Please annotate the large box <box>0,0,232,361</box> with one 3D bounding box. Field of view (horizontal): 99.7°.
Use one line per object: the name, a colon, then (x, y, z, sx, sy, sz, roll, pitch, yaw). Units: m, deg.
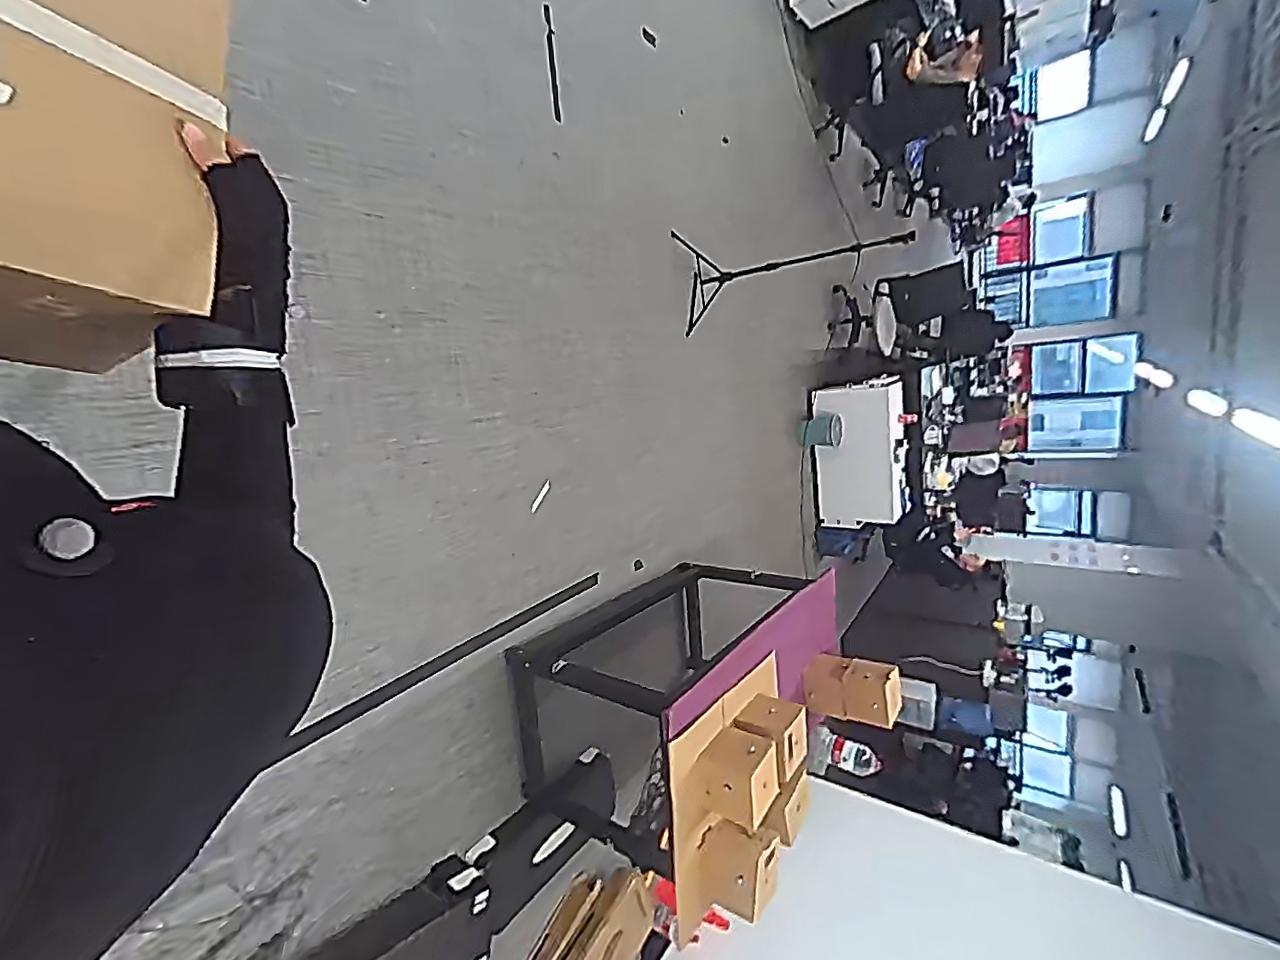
large box: (-0.563, -0.291, 0.344, 0.408, 0.320, 0.320, 7, 83, -56)
